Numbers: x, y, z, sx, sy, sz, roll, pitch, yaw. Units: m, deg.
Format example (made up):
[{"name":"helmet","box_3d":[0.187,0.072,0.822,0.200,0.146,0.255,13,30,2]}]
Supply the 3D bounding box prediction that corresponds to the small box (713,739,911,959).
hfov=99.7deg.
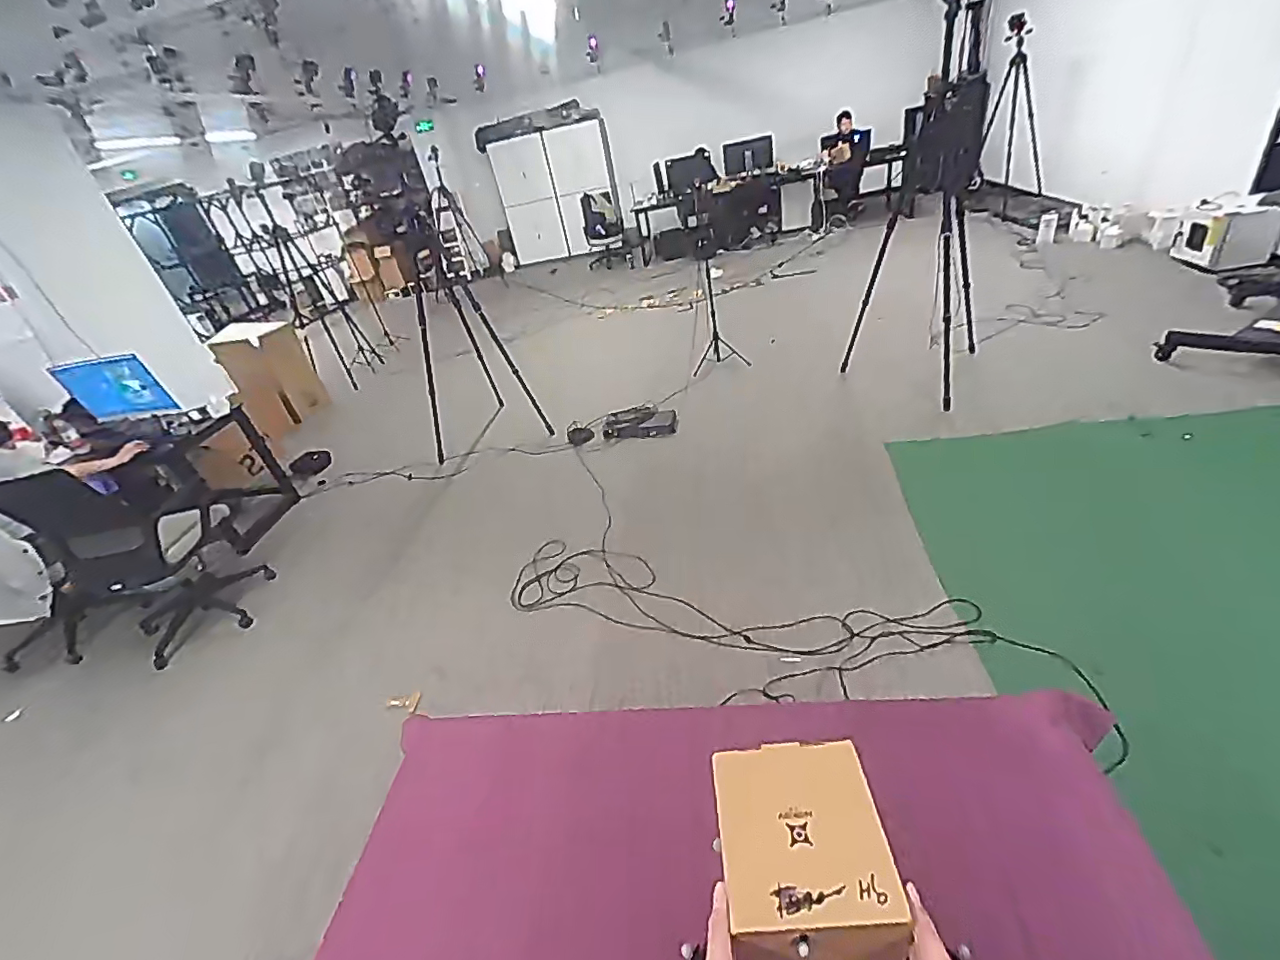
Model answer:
[{"name":"small box","box_3d":[0.175,0.420,0.595,0.168,0.176,0.179,-9,31,7]}]
